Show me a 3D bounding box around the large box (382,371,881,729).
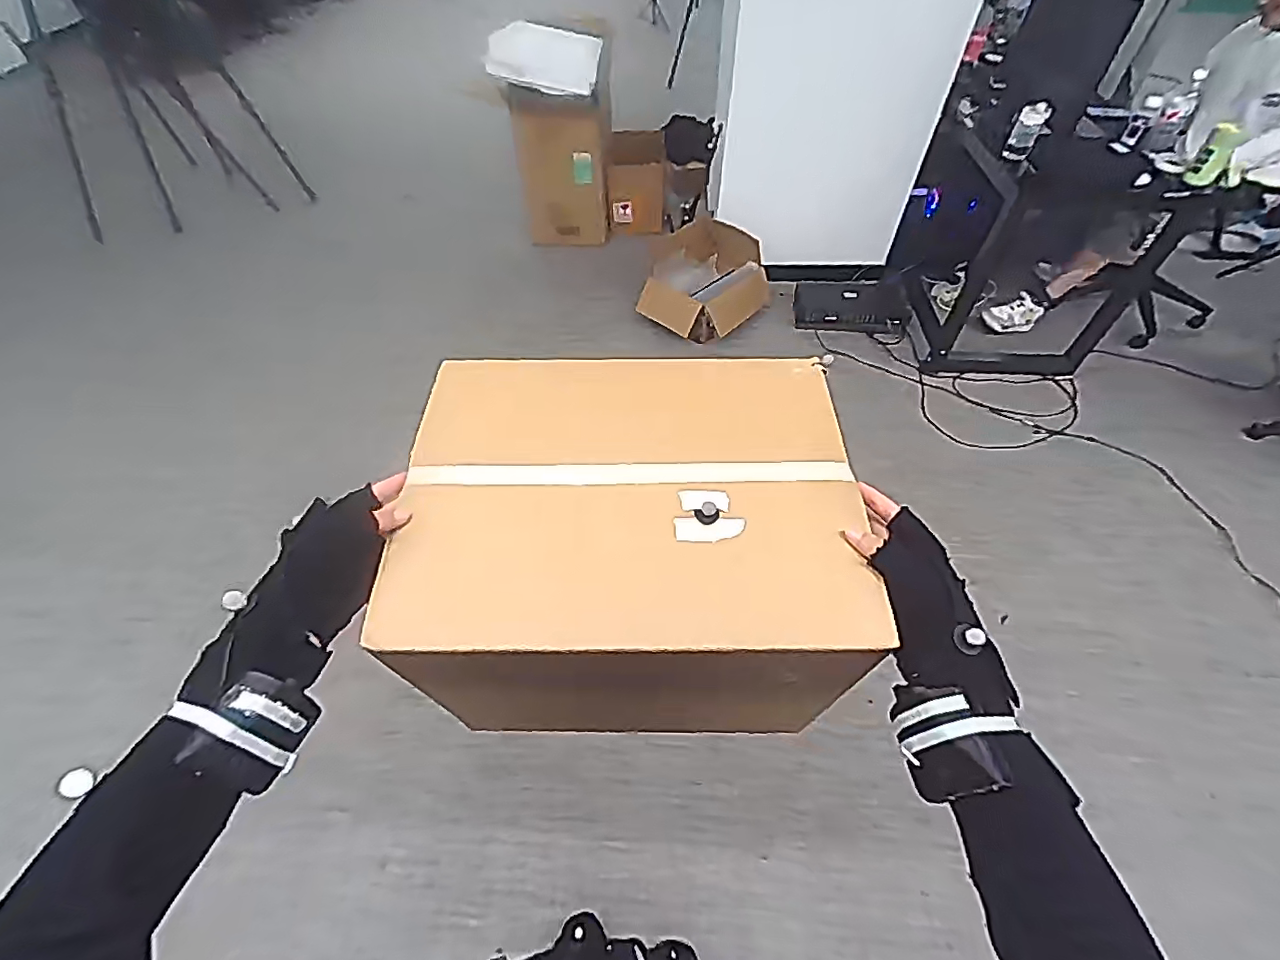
[{"bbox_3d":[-0.009,0.091,0.629,0.408,0.320,0.320,0,55,0],"label":"large box"}]
